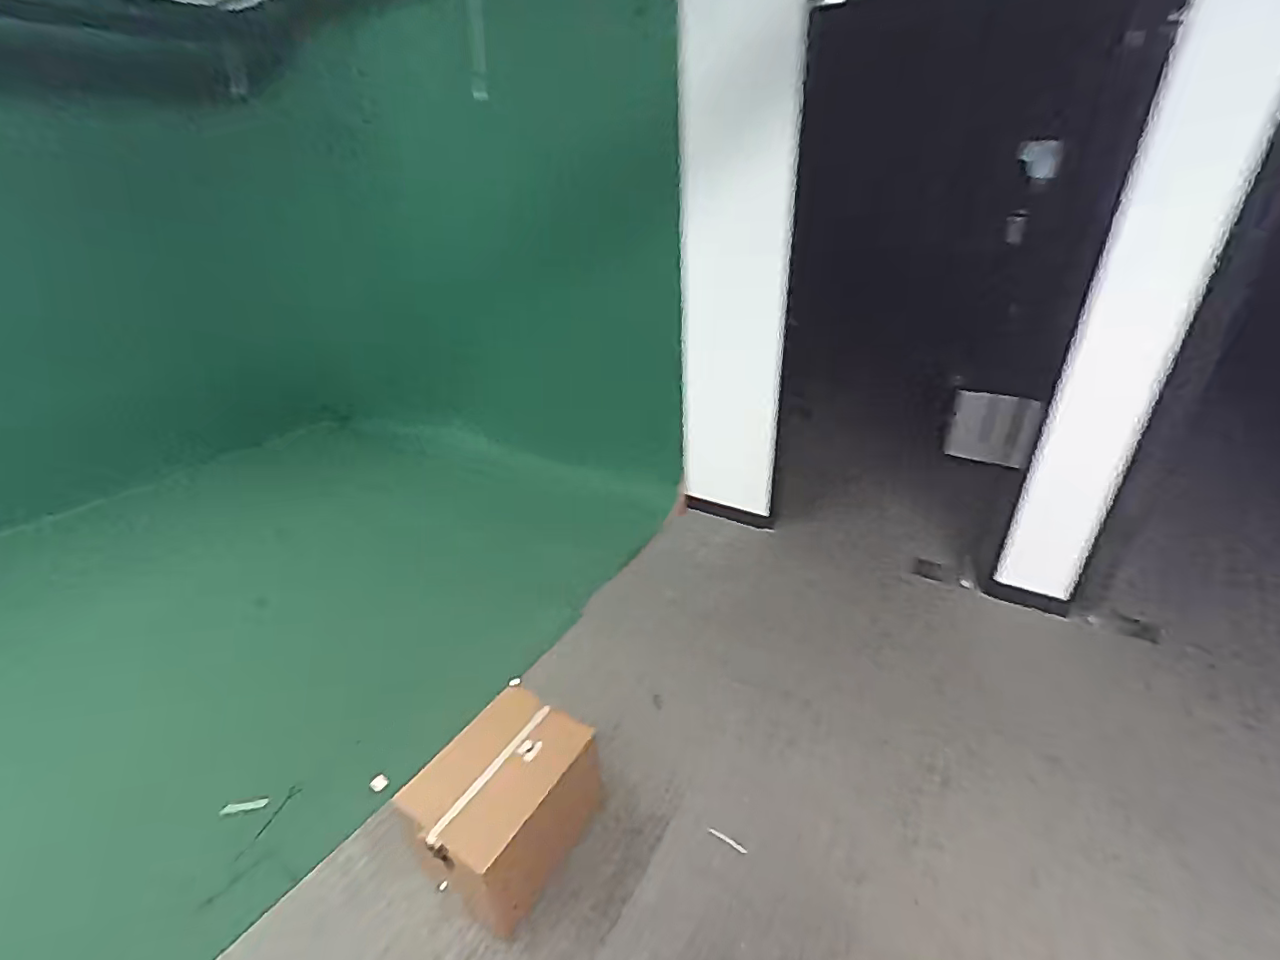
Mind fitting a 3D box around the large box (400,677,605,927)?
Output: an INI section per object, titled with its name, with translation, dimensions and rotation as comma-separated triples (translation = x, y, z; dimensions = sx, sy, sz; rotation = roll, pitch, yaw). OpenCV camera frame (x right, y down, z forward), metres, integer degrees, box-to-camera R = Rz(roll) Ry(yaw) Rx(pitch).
[large box]
translation = -0.338, 0.822, 1.427
dimensions = 0.320, 0.320, 0.408
rotation = 15, 33, 30
